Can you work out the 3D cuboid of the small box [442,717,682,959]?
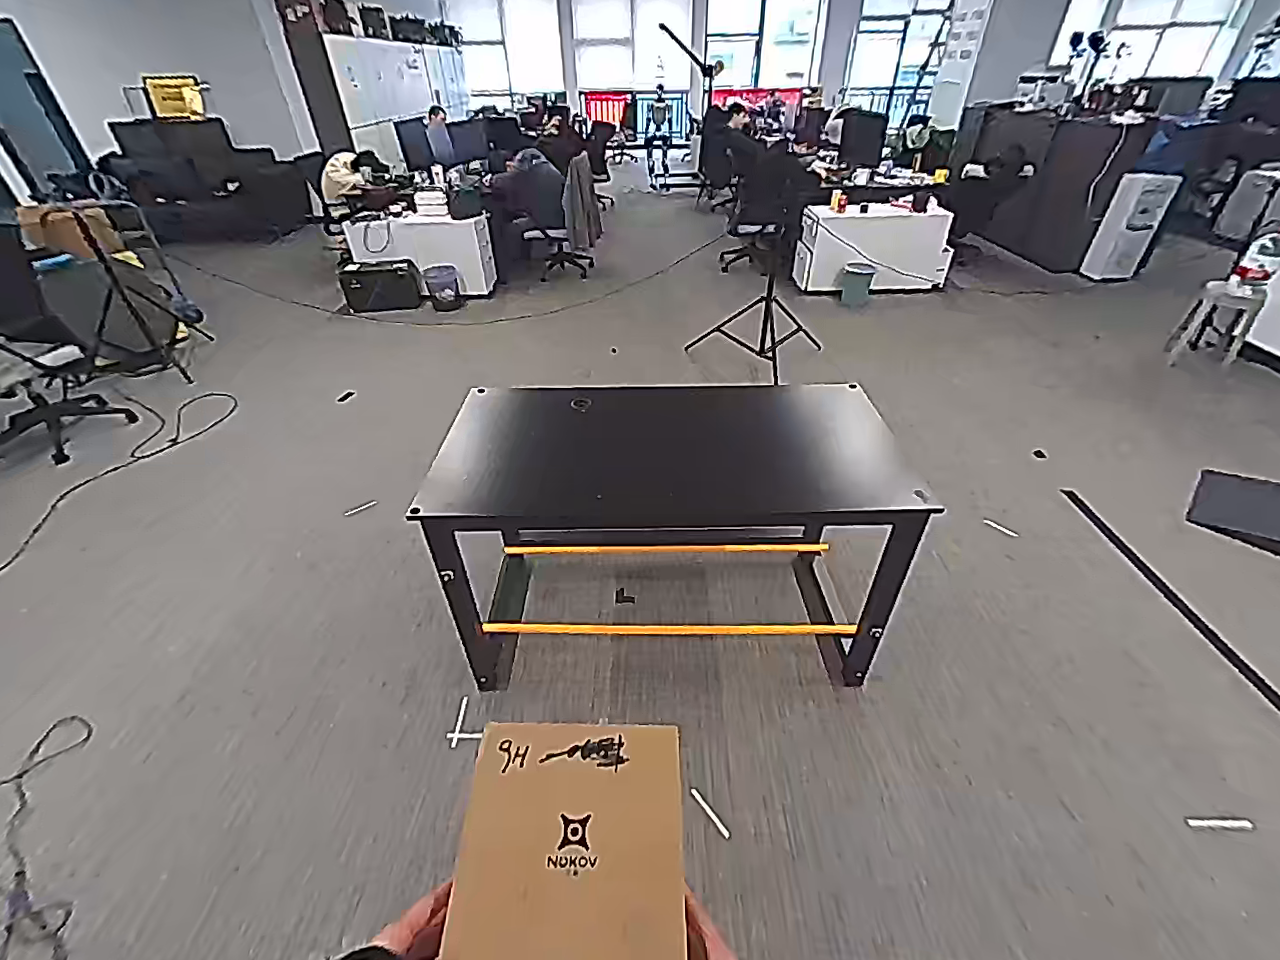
[{"bbox_3d":[-0.052,0.324,0.469,0.168,0.176,0.179,1,47,-1],"label":"small box"}]
